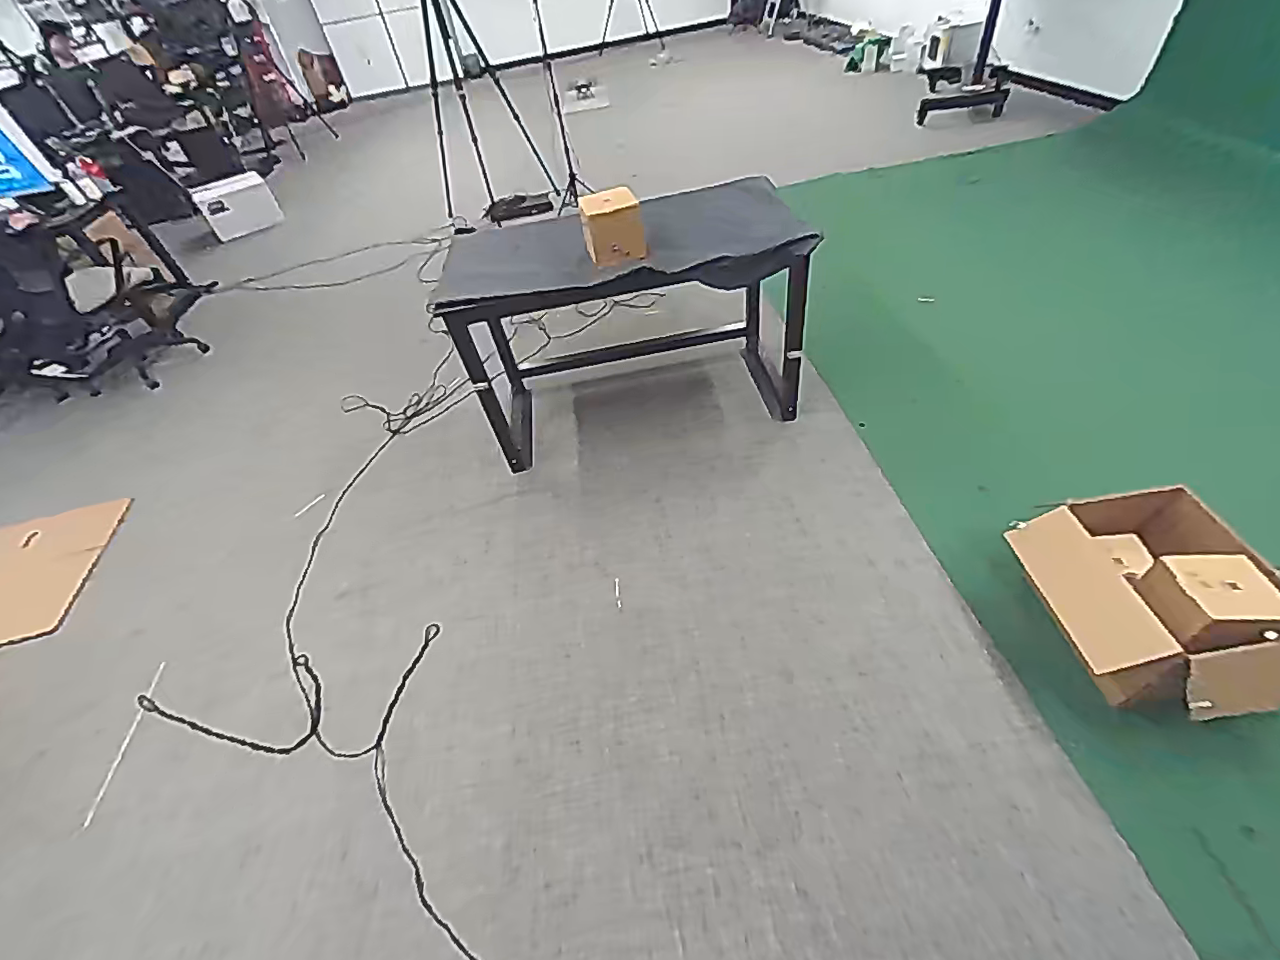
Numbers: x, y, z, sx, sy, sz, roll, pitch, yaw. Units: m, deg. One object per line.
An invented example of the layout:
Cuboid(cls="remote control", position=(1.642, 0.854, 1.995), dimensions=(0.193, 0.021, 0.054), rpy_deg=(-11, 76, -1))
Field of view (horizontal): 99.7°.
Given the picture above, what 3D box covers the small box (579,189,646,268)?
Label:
Cuboid(cls="small box", position=(-0.088, -0.802, 1.727), dimensions=(0.168, 0.176, 0.179), rpy_deg=(-16, 46, -5))
